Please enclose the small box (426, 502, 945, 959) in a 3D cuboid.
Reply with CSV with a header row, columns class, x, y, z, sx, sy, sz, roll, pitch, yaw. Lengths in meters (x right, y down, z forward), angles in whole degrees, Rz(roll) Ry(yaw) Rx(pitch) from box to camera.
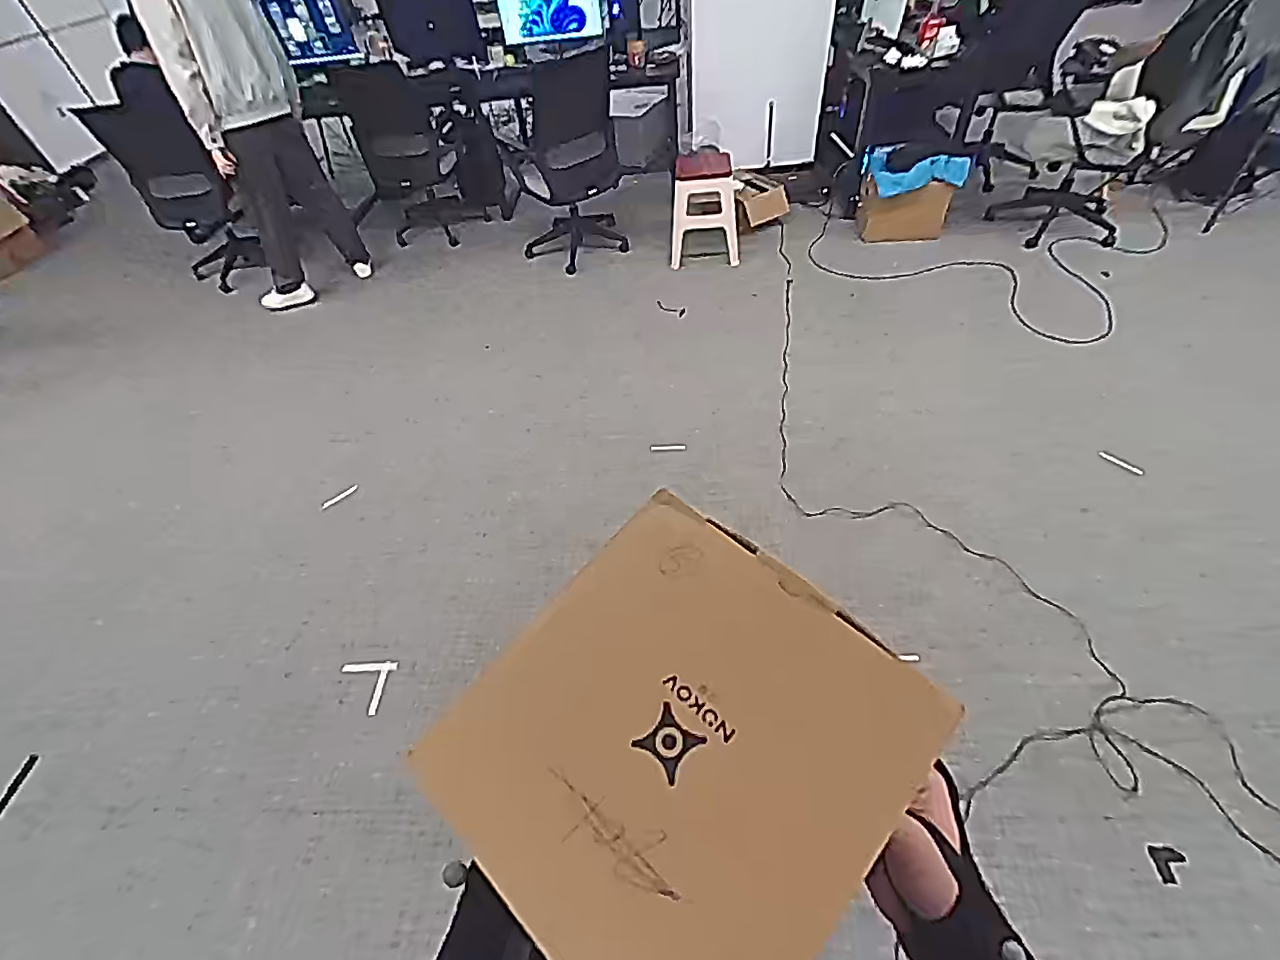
class,x,y,z,sx,sy,sz,roll,pitch,yaw
small box,0.026,0.151,0.307,0.168,0.176,0.179,35,72,25
